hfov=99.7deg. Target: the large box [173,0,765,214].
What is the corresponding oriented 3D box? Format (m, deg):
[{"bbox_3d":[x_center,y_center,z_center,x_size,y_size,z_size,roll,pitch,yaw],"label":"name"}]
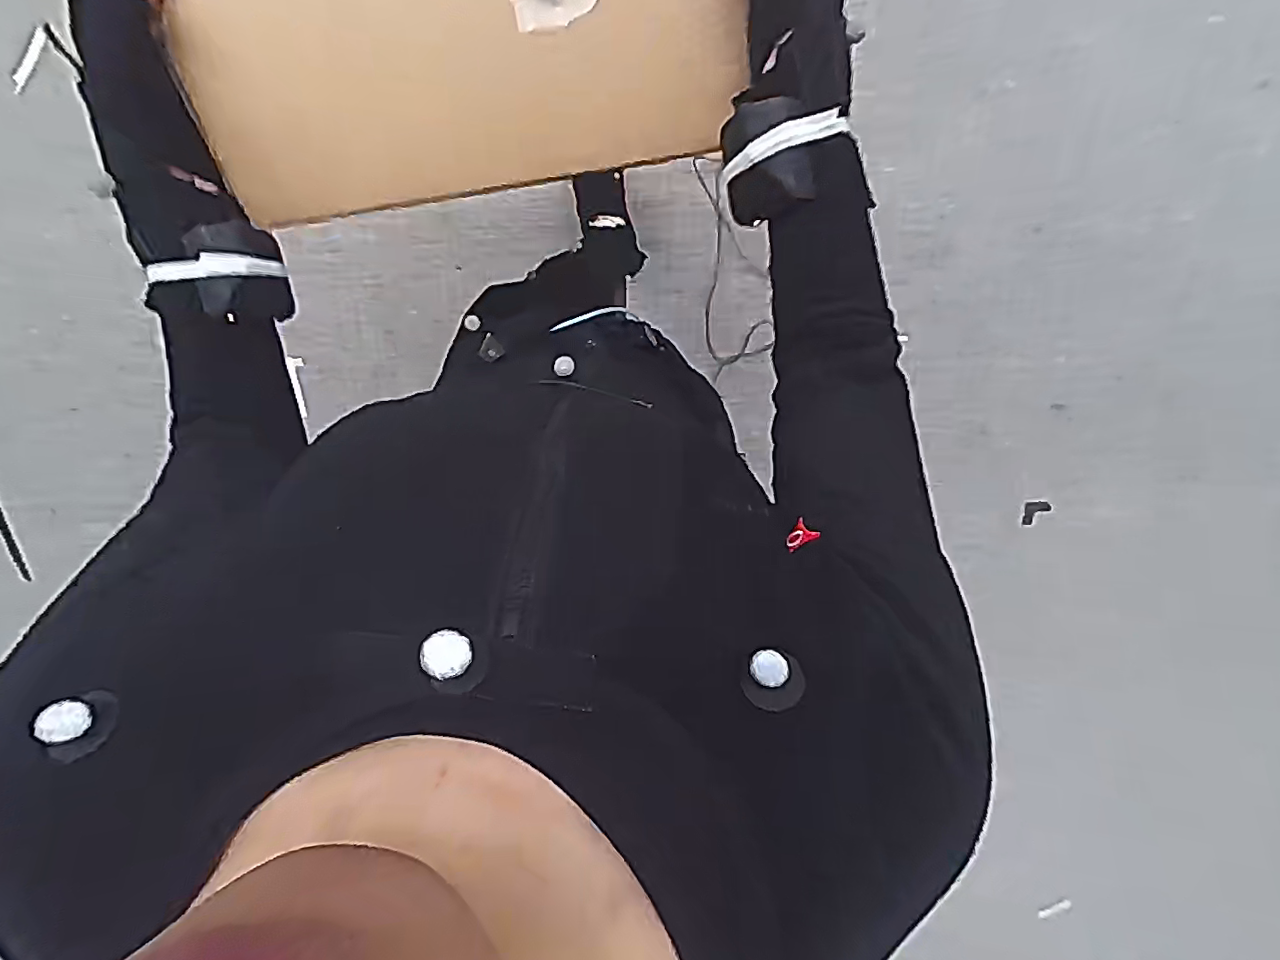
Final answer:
[{"bbox_3d":[-0.129,-0.446,0.474,0.408,0.320,0.320,-8,122,2],"label":"large box"}]
